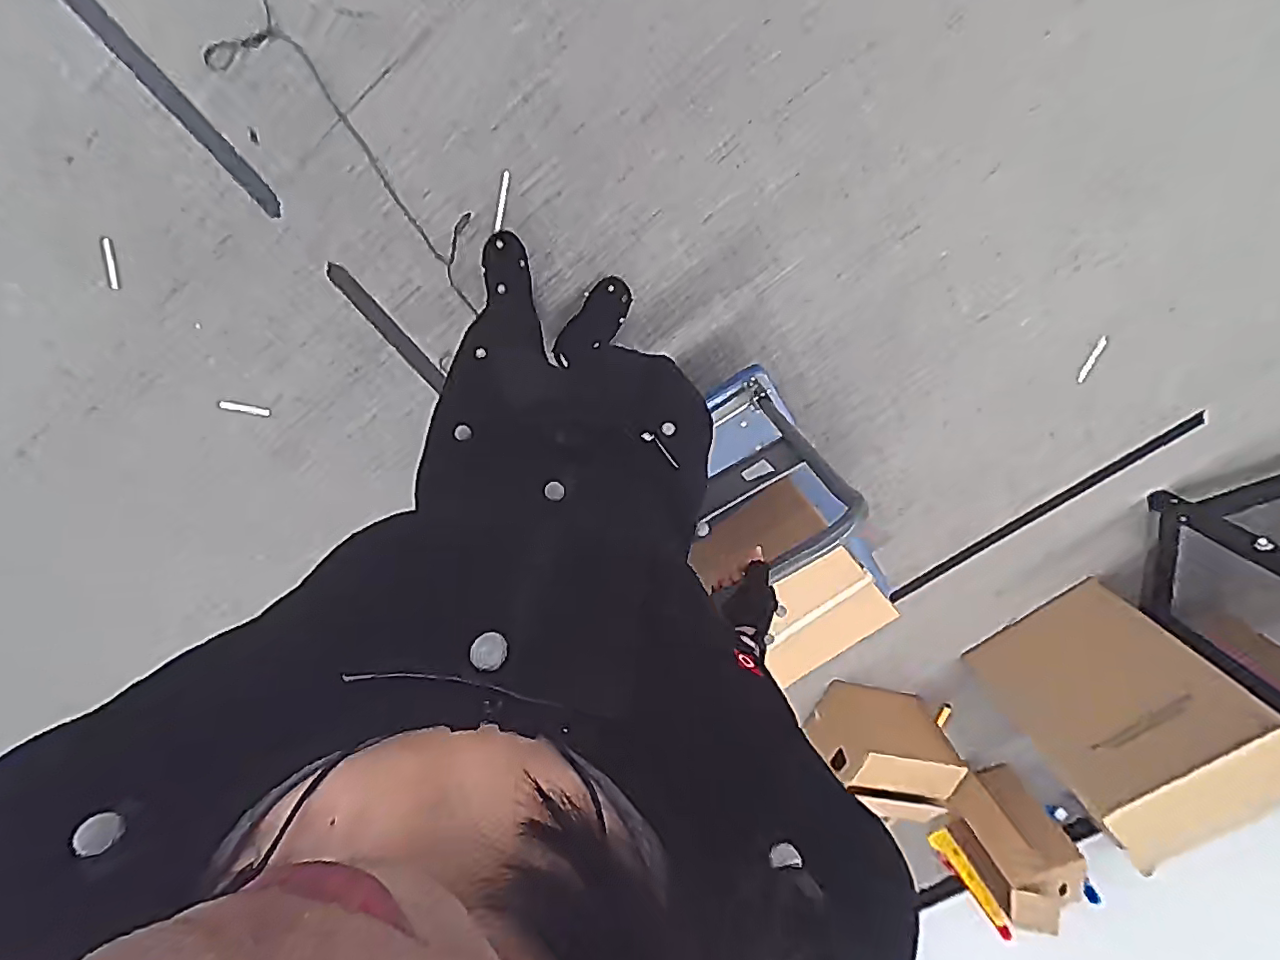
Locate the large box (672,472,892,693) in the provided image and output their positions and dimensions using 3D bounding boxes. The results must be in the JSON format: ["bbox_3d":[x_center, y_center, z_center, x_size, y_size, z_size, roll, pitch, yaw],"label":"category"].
[{"bbox_3d":[0.344,0.258,1.398,0.408,0.320,0.320,-39,113,15],"label":"large box"}]
